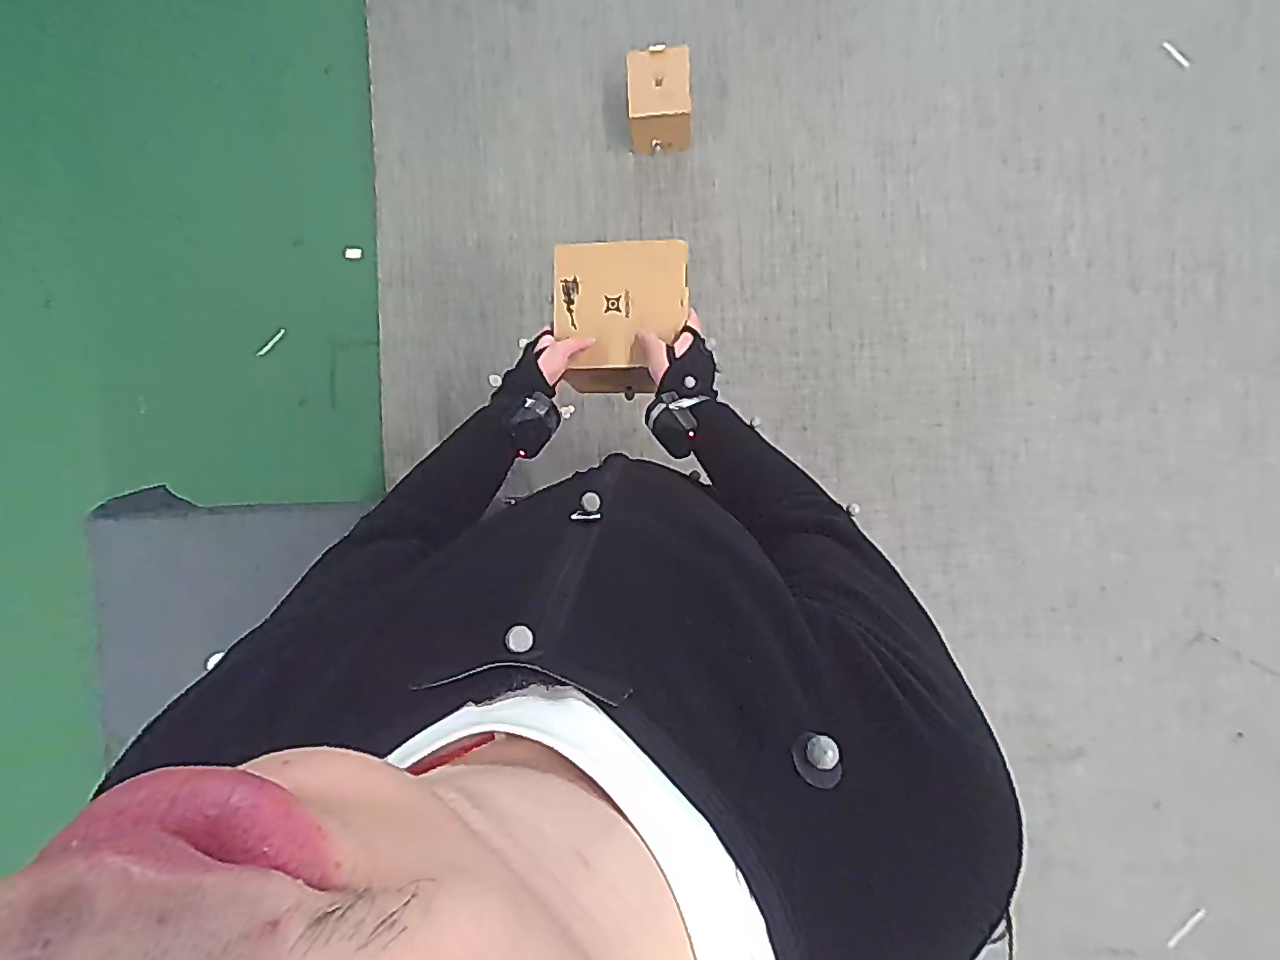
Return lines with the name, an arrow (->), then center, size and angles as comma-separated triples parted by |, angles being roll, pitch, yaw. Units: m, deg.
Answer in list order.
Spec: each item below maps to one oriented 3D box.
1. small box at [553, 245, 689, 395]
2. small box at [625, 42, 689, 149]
small box -> -0.021, -0.220, 0.779 | 0.179, 0.176, 0.168 | 1, 88, 4
small box -> 0.050, -1.041, 1.474 | 0.168, 0.176, 0.179 | 0, 90, 6
